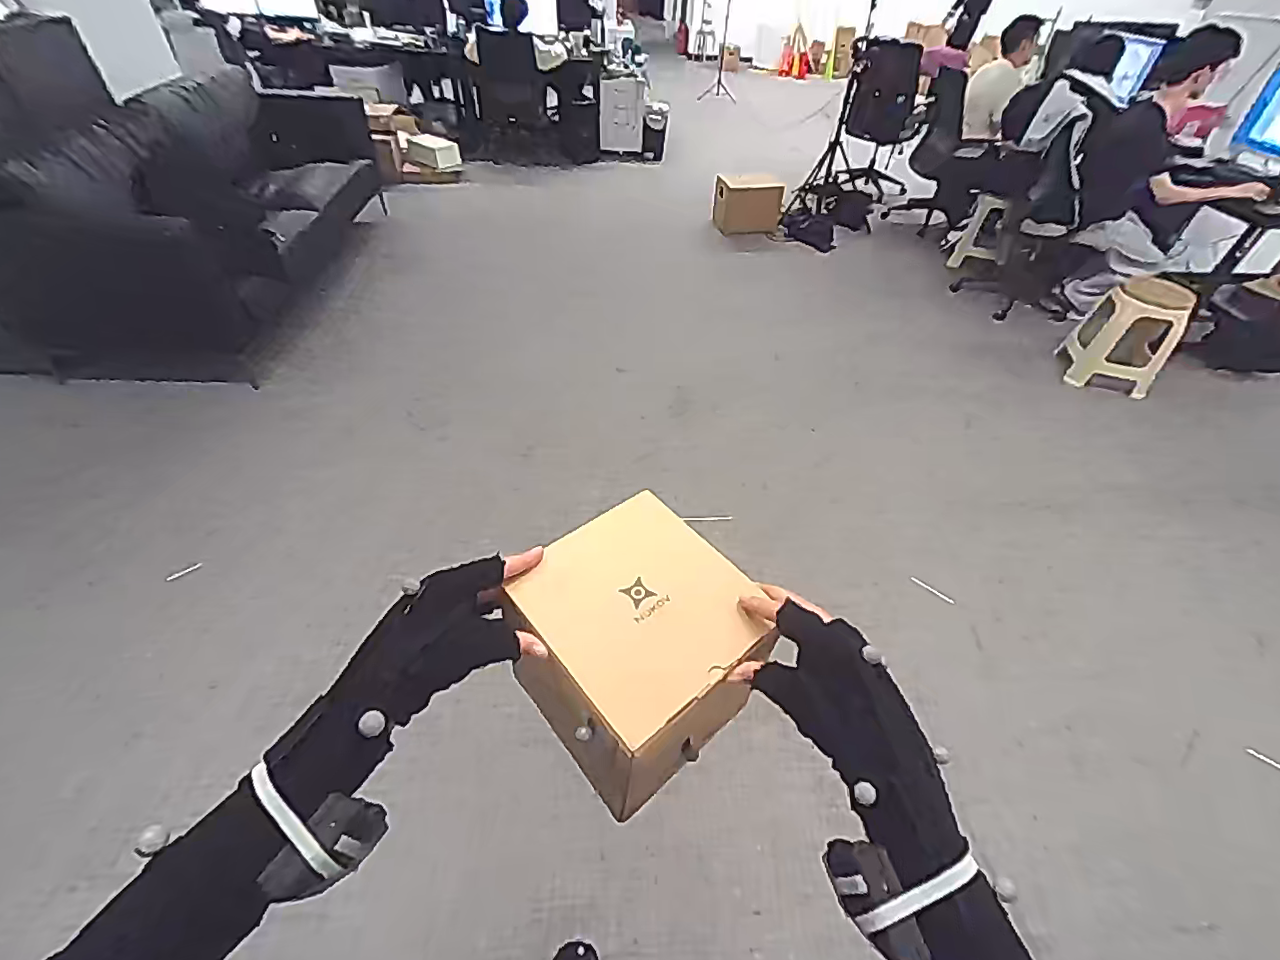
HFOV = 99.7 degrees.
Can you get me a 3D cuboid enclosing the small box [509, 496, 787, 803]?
[{"bbox_3d":[-0.003,0.153,0.499,0.168,0.176,0.179,-28,55,-30],"label":"small box"}]
